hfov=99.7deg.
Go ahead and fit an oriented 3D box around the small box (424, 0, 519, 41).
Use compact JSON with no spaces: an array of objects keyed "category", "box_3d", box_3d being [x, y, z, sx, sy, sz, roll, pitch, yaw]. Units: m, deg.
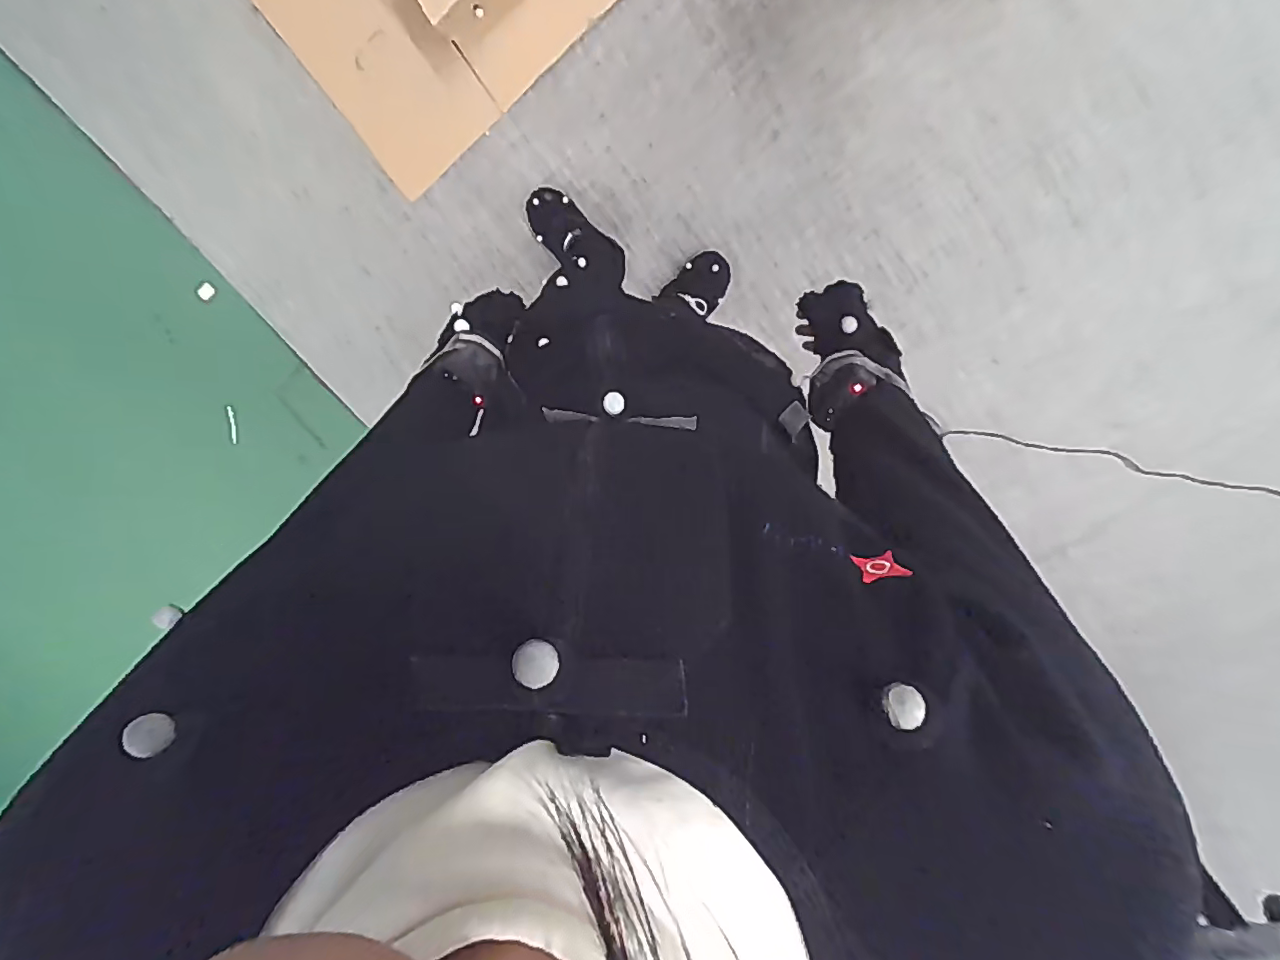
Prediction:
[{"category":"small box","box_3d":[-0.321,-0.948,0.974,0.179,0.176,0.168,-31,107,22]}]
